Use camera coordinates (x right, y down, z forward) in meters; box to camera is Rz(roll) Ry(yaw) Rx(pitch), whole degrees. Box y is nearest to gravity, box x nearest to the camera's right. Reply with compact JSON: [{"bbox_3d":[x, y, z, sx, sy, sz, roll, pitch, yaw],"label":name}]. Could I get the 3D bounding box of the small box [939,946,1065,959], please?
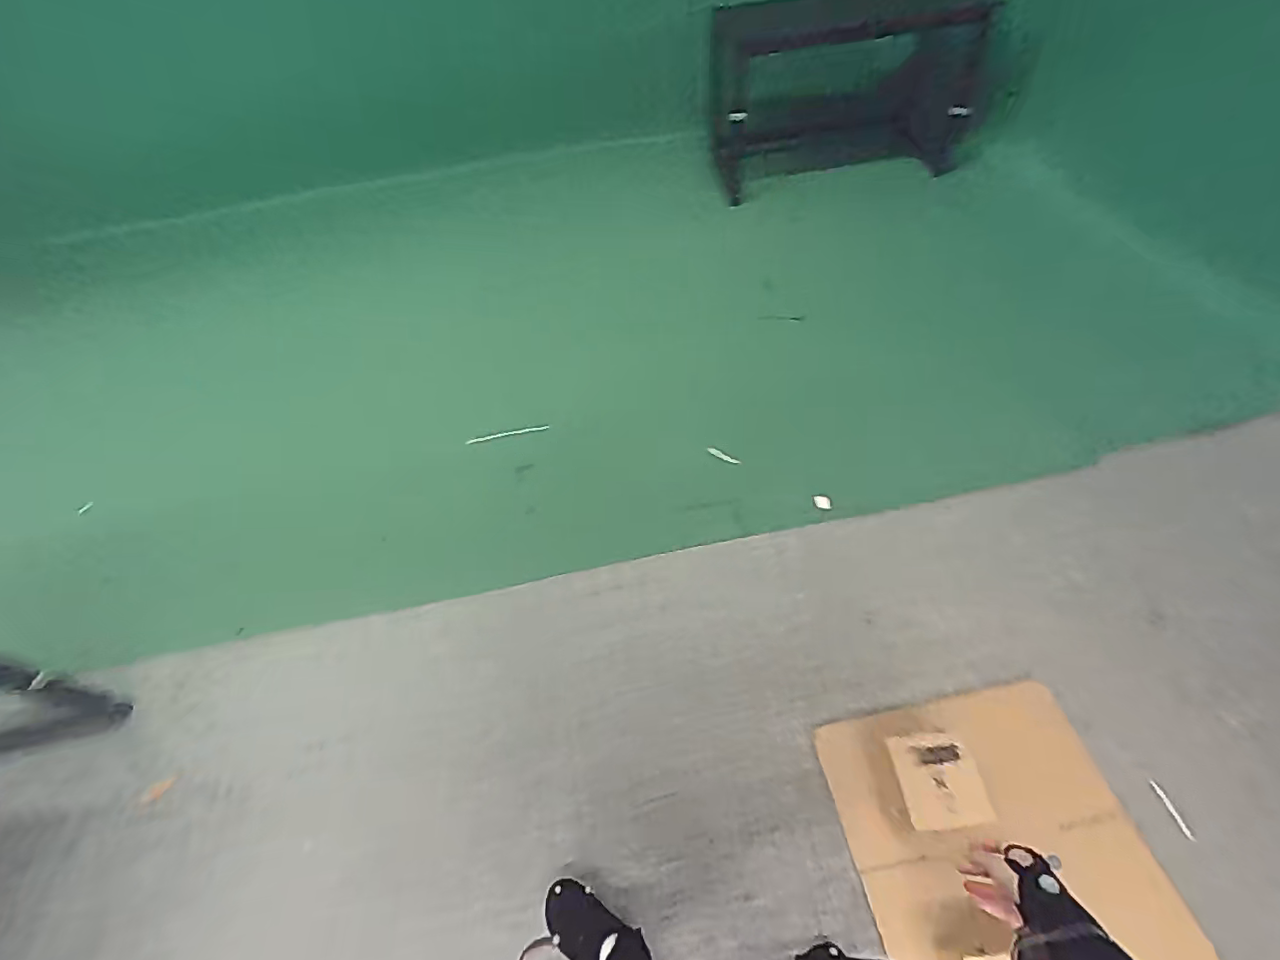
[{"bbox_3d":[0.658,0.942,0.957,0.179,0.176,0.168,-5,53,2],"label":"small box"}]
